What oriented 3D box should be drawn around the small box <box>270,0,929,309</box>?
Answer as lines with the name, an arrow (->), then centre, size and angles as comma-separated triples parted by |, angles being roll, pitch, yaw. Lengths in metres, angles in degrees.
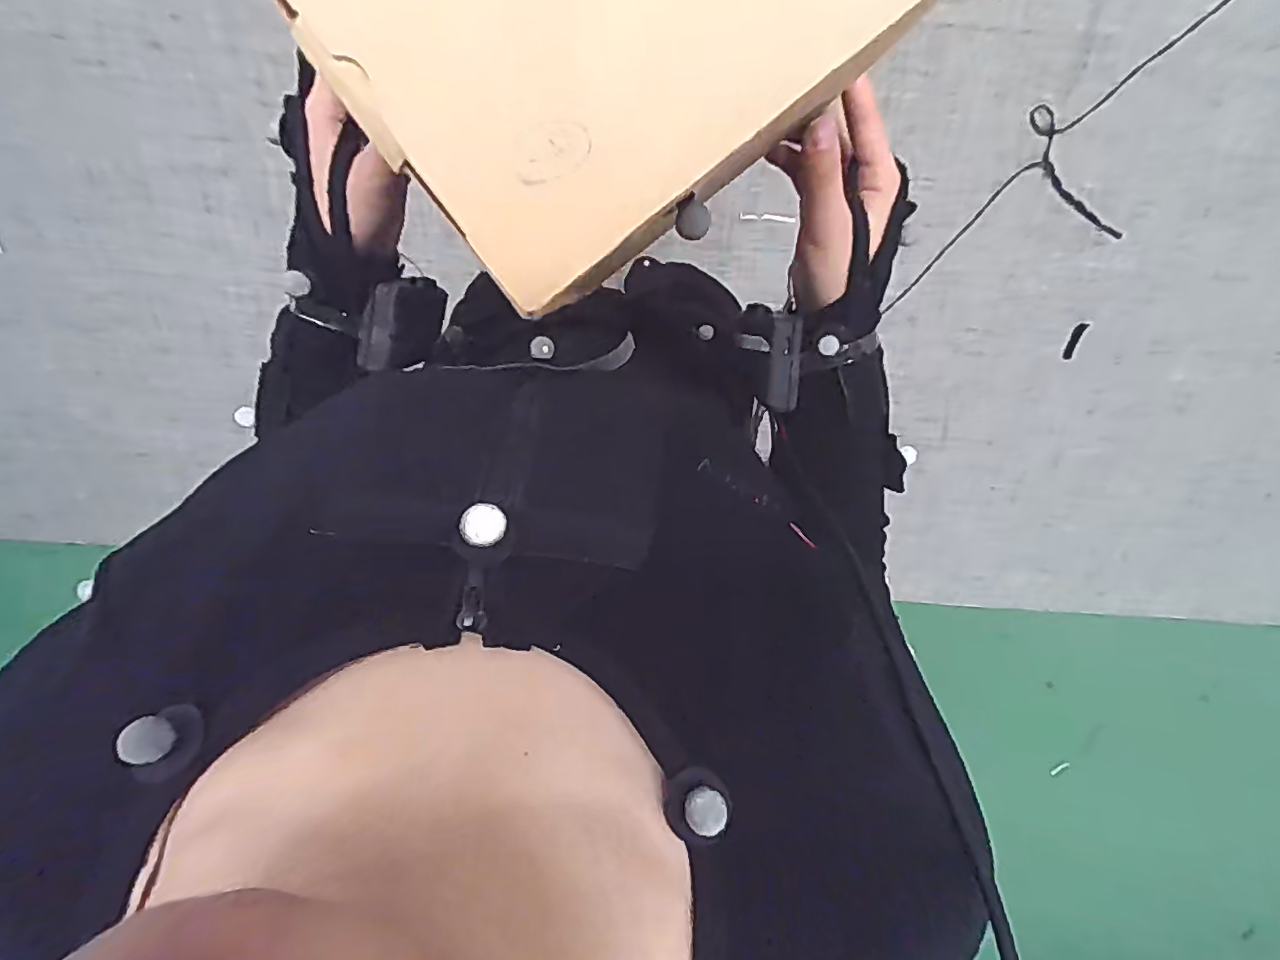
small box -> -0.016, -0.191, 0.220 | 0.179, 0.176, 0.168 | -33, 106, 13
